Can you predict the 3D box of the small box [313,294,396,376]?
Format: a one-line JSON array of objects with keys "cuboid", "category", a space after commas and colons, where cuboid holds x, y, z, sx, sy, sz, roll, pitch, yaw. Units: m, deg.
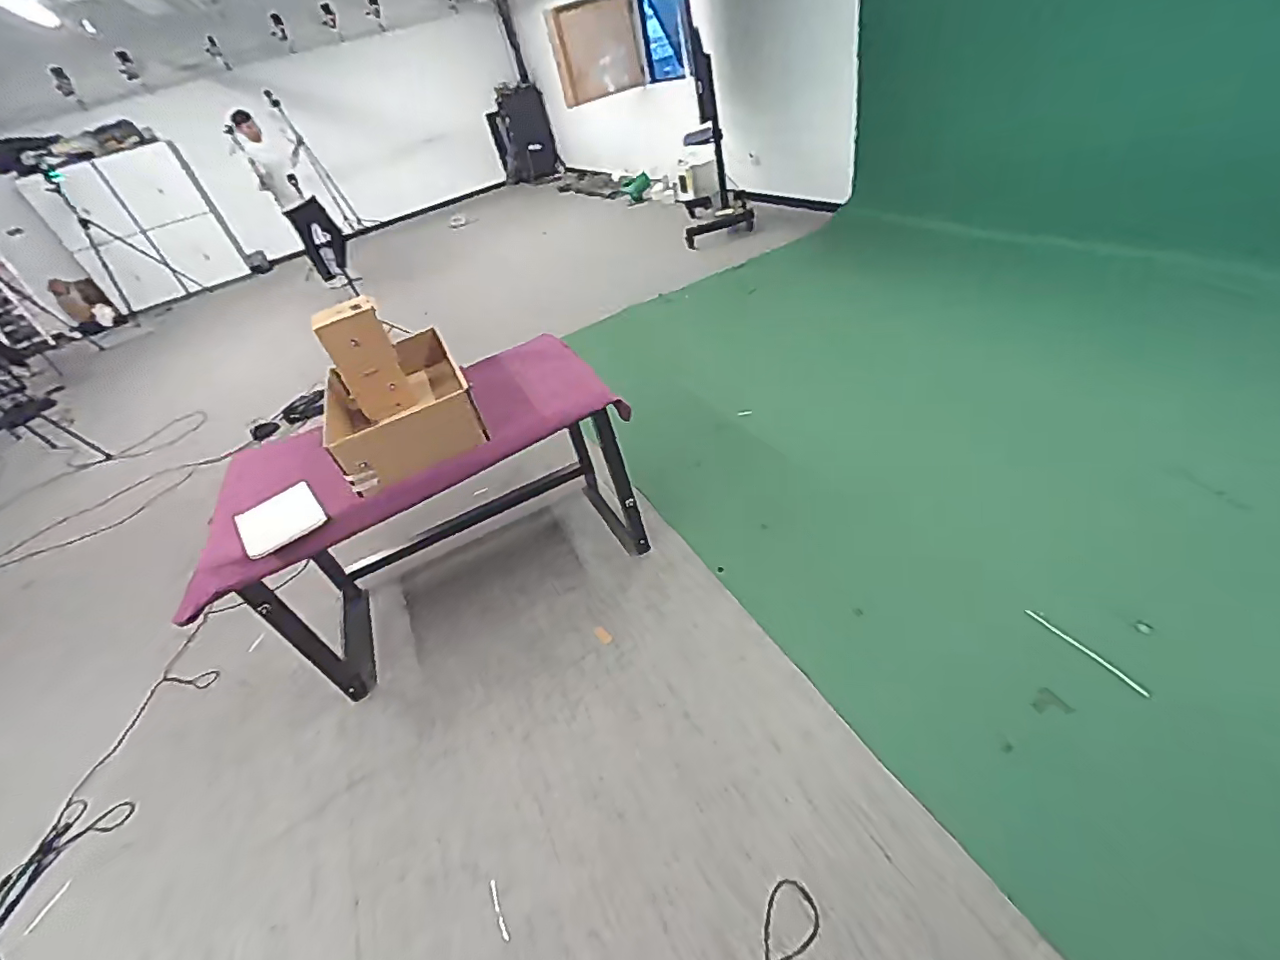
[{"cuboid": [-0.877, -0.449, 1.673, 0.179, 0.176, 0.168, -28, 41, -15], "category": "small box"}]
